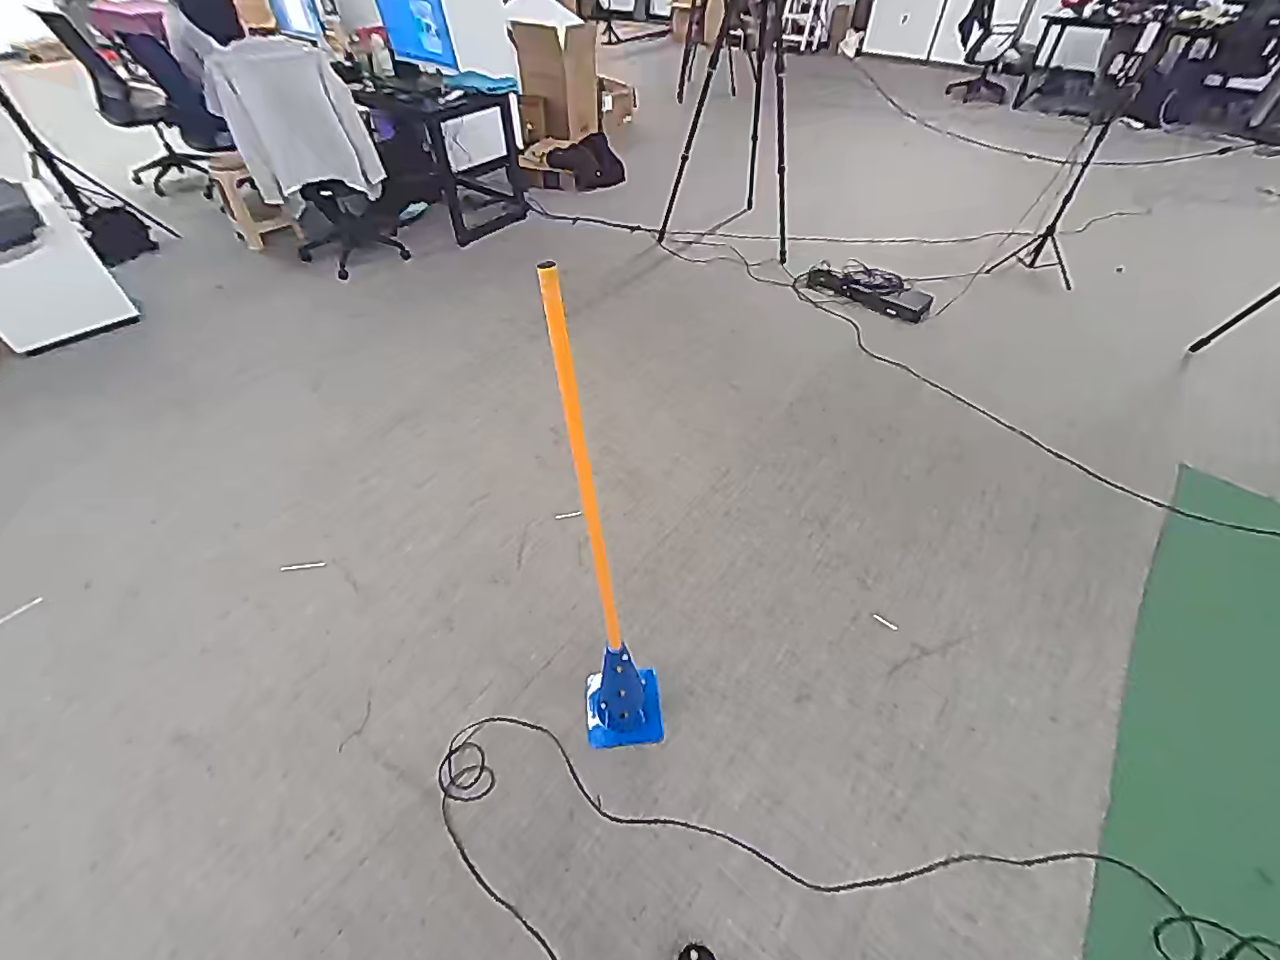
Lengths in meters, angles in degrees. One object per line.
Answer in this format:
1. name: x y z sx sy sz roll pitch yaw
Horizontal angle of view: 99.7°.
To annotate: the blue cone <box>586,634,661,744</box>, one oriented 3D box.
1. blue cone: -0.052 0.494 1.343 0.192 0.380 0.193 -6 45 -4
